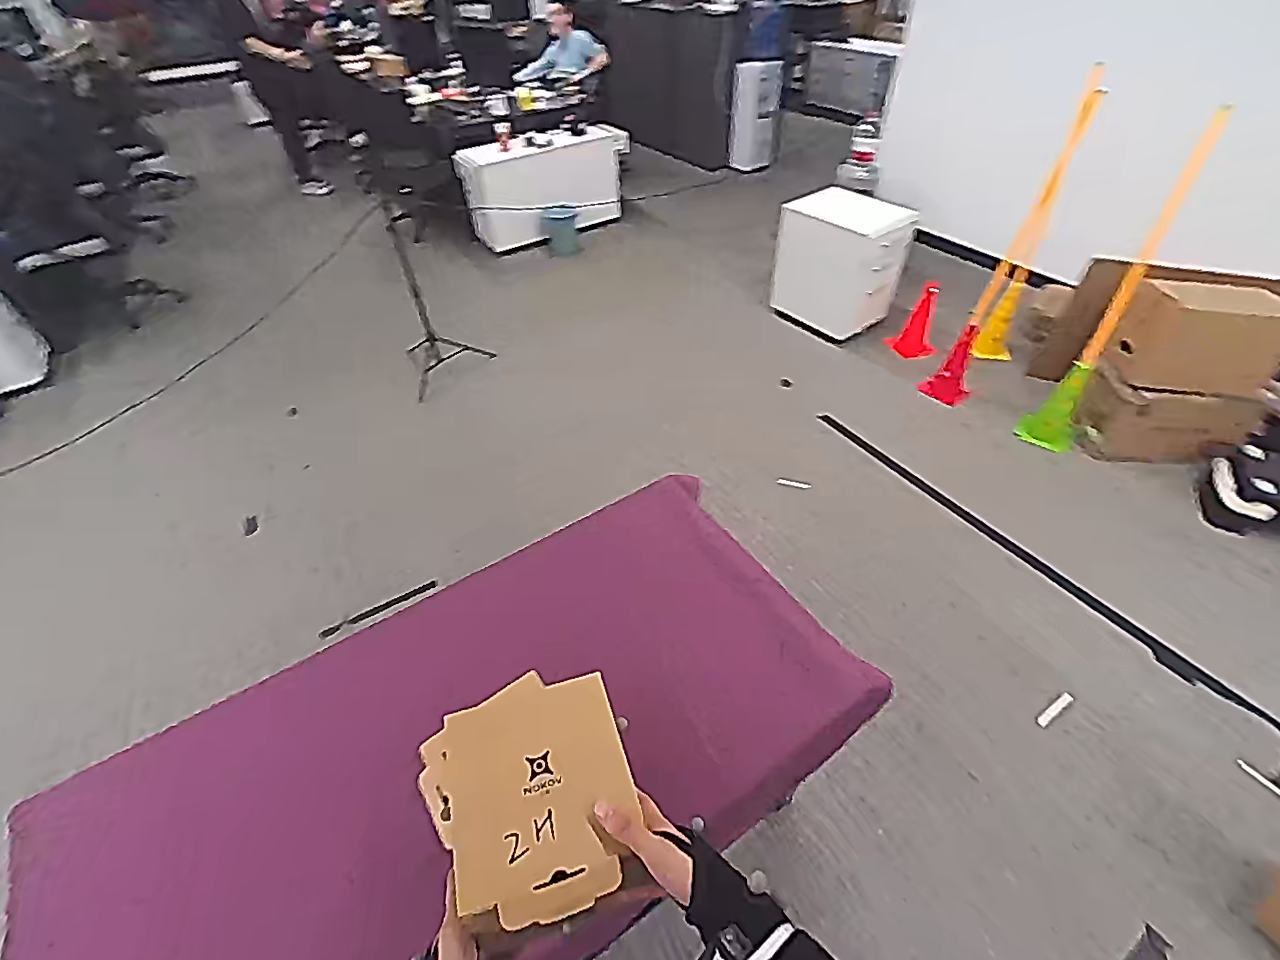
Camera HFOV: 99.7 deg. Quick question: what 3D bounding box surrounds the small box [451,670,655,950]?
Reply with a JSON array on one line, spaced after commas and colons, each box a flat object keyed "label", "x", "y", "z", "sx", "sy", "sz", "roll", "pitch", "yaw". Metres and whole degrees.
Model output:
[{"label": "small box", "x": -0.093, "y": 0.334, "z": 0.556, "sx": 0.168, "sy": 0.176, "sz": 0.179, "roll": -11, "pitch": 42, "yaw": -15}]

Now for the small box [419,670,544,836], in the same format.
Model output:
[{"label": "small box", "x": -0.171, "y": 0.410, "z": 0.752, "sx": 0.179, "sy": 0.176, "sz": 0.168, "roll": -29, "pitch": 51, "yaw": -24}]
